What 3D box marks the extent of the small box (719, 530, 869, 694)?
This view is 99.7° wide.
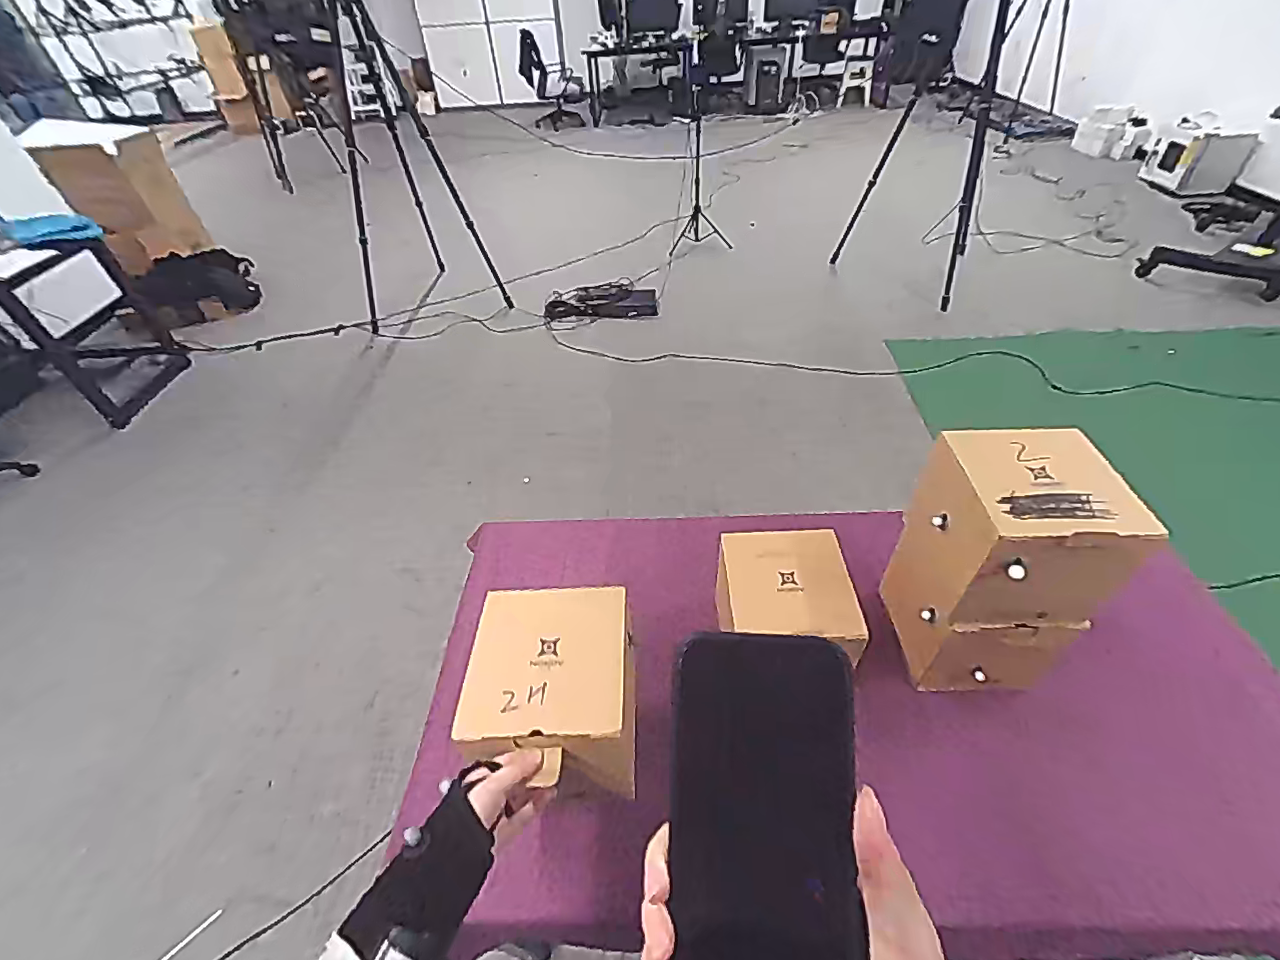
[{"bbox_3d":[0.206,0.194,0.777,0.168,0.176,0.179,-2,44,2],"label":"small box"}]

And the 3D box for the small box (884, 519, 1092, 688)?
[{"bbox_3d":[0.471,0.175,0.771,0.168,0.176,0.179,-3,45,3],"label":"small box"}]

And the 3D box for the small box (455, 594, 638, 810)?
[{"bbox_3d":[-0.091,0.254,0.626,0.168,0.176,0.179,-3,40,3],"label":"small box"}]
